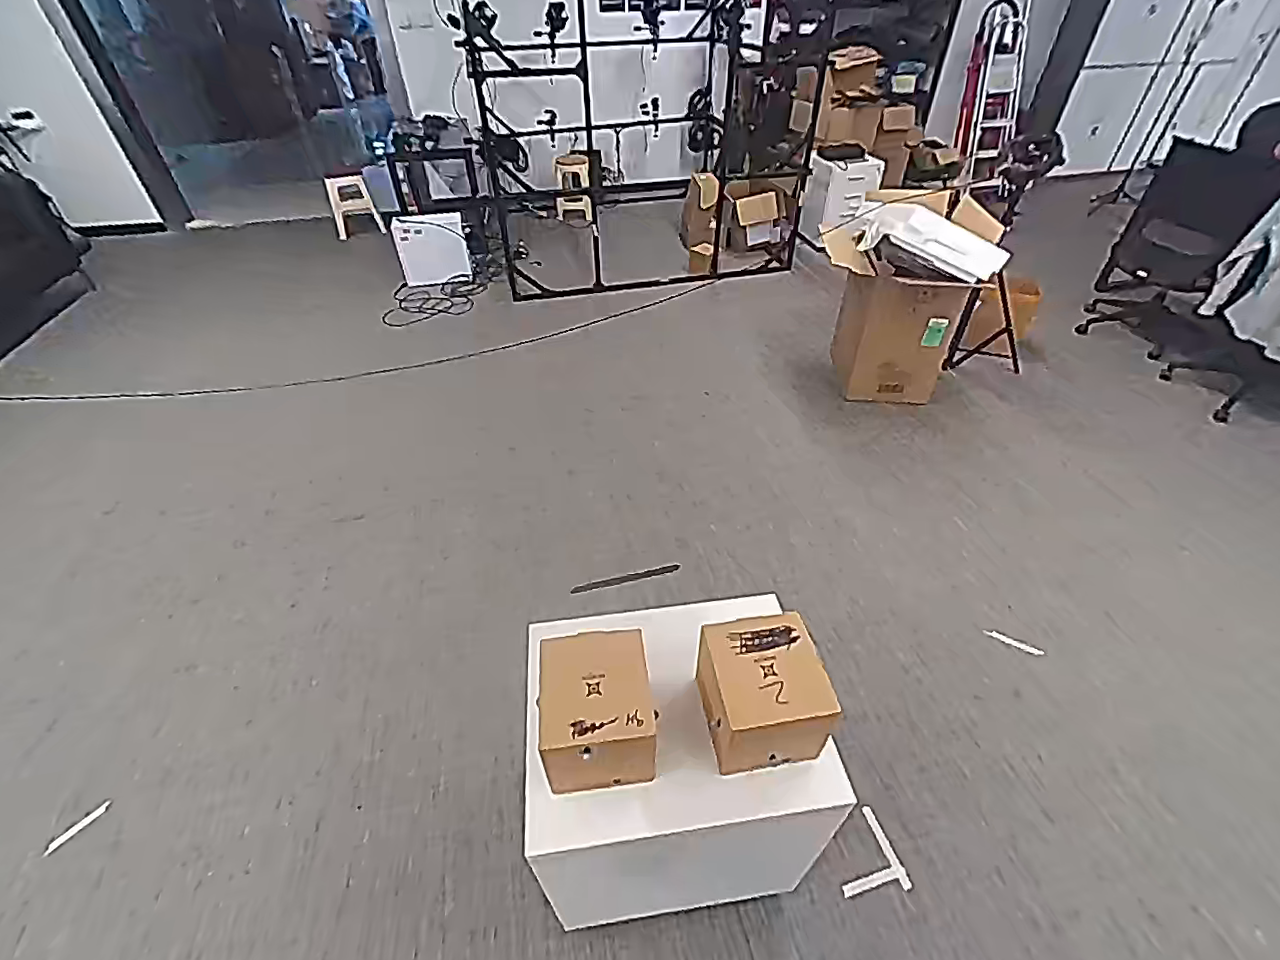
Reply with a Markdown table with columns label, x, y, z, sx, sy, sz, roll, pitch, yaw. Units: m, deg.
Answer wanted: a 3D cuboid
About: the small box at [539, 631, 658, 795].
| label | x | y | z | sx | sy | sz | roll | pitch | yaw |
| --- | --- | --- | --- | --- | --- | --- | --- | --- | --- |
| small box | -0.065 | 0.366 | 0.855 | 0.168 | 0.176 | 0.179 | -5 | 41 | -4 |
